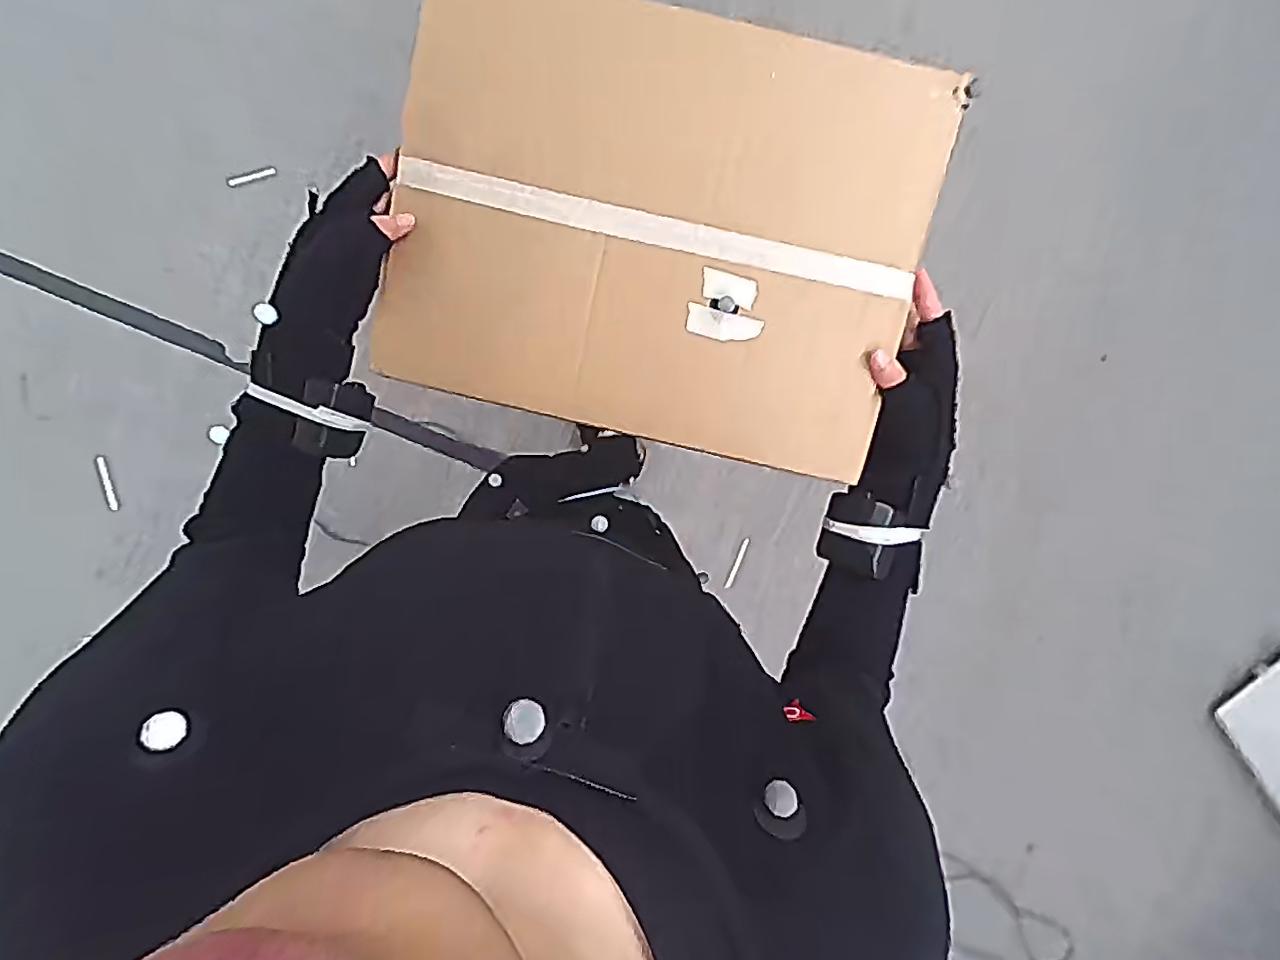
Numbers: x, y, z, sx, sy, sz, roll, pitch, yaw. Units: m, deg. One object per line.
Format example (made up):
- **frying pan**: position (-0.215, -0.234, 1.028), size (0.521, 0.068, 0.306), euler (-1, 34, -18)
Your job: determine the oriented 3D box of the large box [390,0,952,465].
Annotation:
- **large box**: position (0.017, -0.218, 0.580), size (0.408, 0.320, 0.320), euler (13, 98, -1)
